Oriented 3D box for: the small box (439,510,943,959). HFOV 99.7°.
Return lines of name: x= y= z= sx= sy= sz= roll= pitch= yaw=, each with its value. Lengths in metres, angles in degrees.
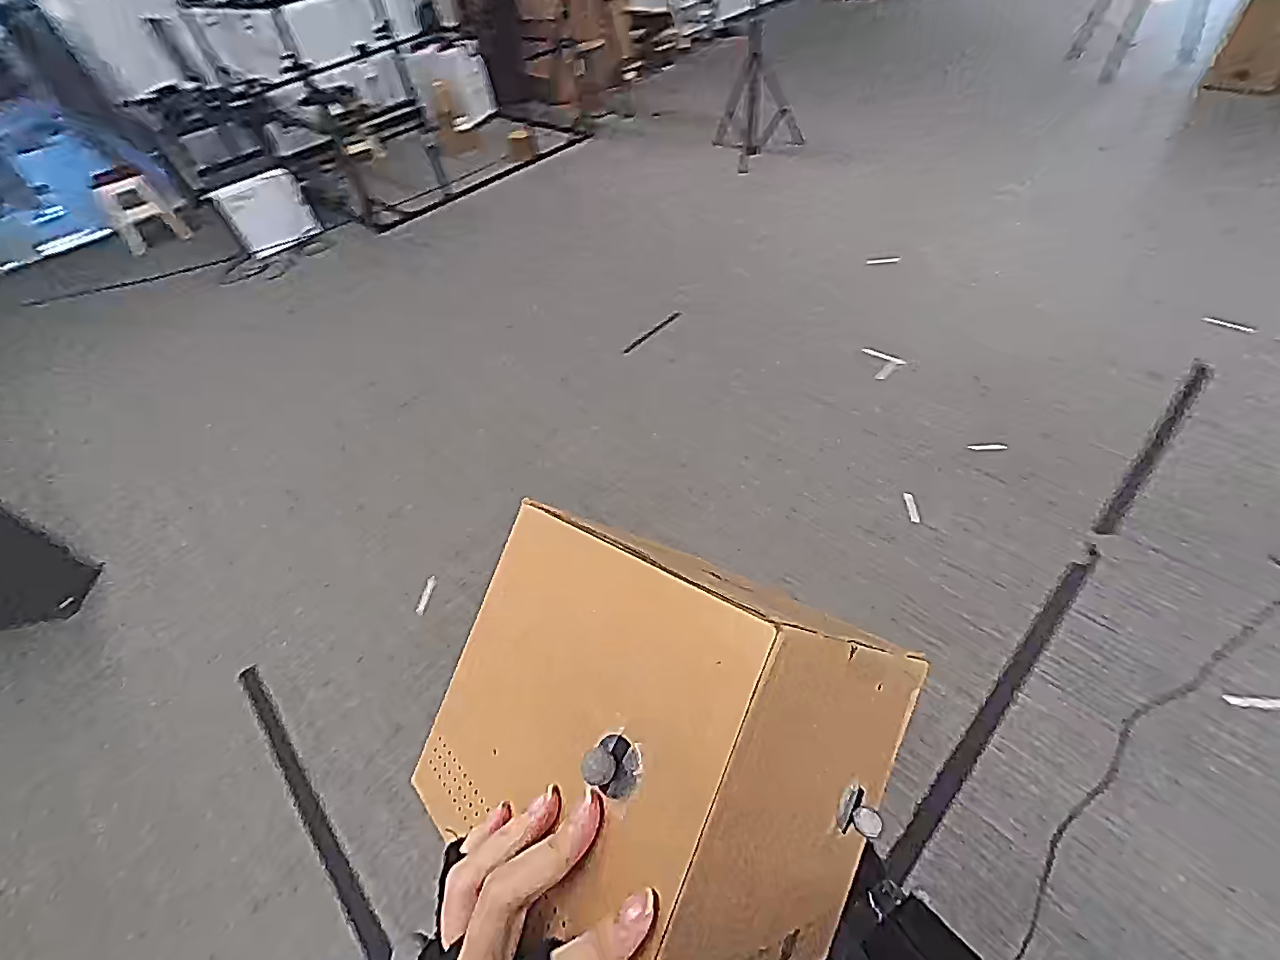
small box: x=0.022 y=0.136 z=0.292 sx=0.179 sy=0.168 sz=0.176 roll=19 pitch=85 yaw=48
